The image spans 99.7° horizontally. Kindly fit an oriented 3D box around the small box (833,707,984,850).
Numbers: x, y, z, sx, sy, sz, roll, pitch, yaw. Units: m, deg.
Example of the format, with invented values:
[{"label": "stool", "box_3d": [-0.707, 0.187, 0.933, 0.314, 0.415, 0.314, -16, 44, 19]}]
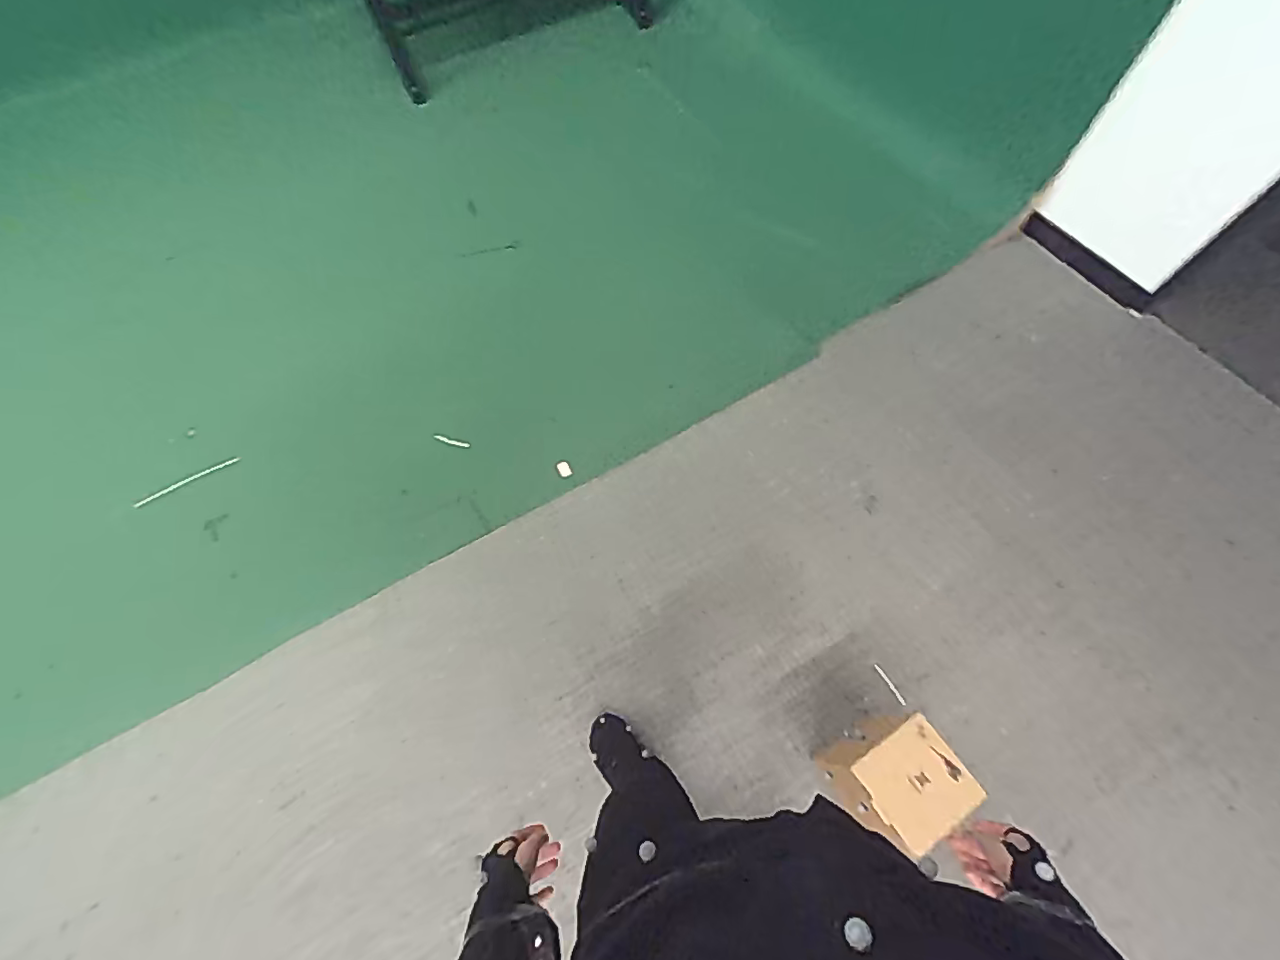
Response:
[{"label": "small box", "box_3d": [0.494, 0.559, 1.032, 0.179, 0.176, 0.168, -31, 68, -10]}]
